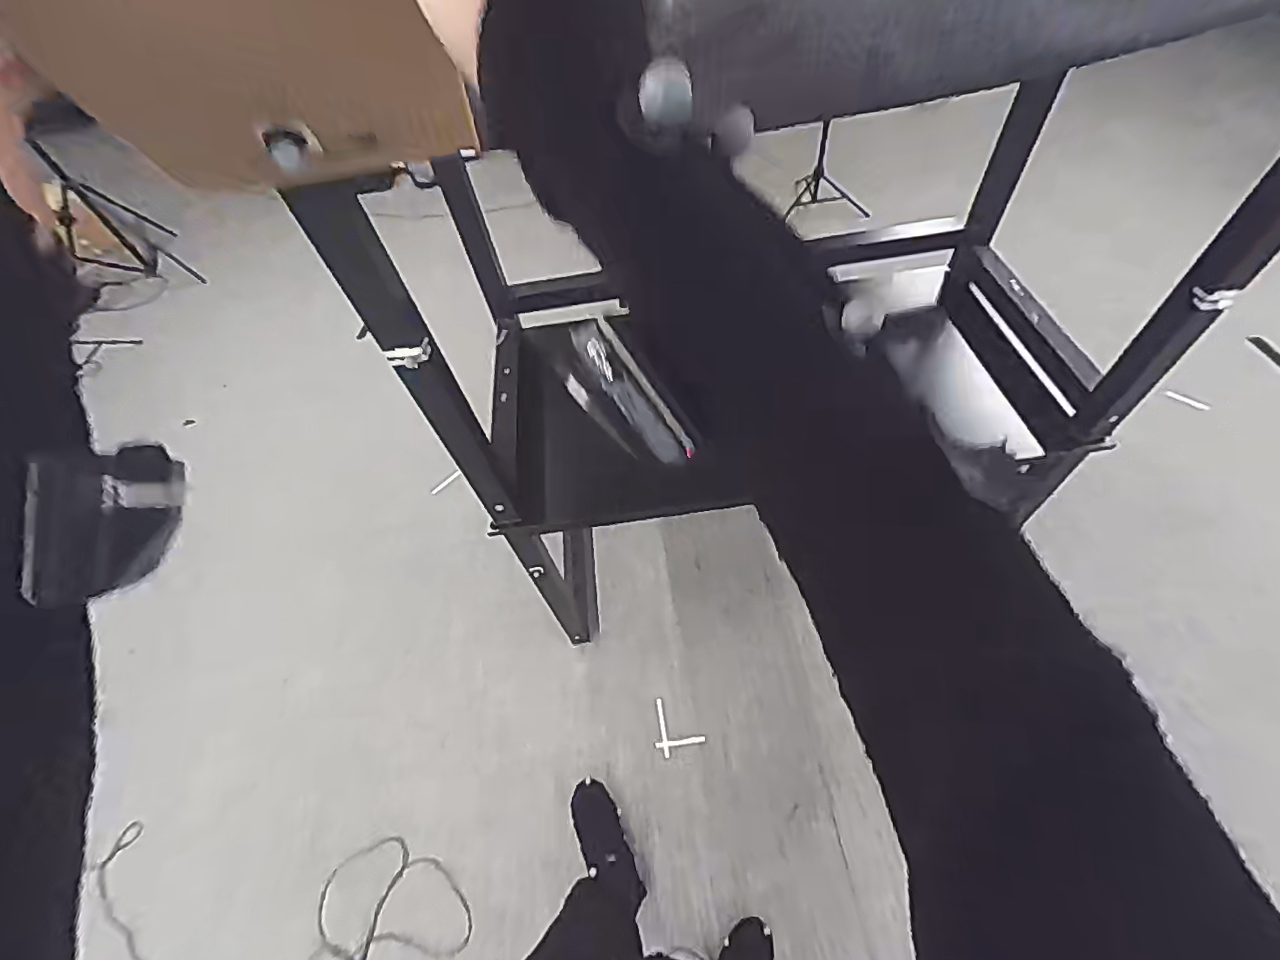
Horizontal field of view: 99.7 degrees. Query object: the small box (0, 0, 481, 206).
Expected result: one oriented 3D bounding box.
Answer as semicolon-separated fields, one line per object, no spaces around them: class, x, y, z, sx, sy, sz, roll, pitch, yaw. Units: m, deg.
small box;-0.181;-0.258;0.234;0.168;0.176;0.179;-16;89;-8
